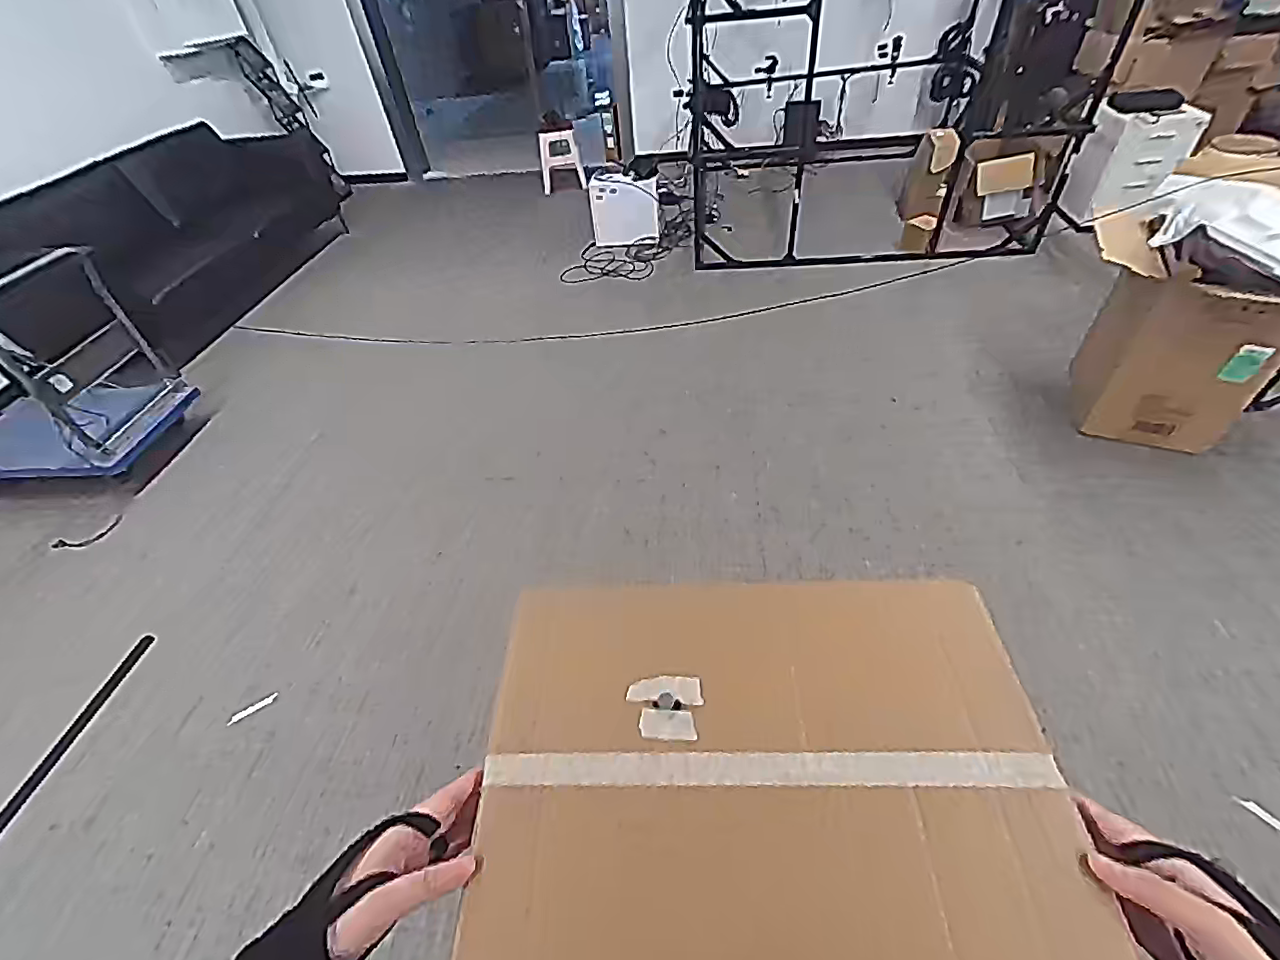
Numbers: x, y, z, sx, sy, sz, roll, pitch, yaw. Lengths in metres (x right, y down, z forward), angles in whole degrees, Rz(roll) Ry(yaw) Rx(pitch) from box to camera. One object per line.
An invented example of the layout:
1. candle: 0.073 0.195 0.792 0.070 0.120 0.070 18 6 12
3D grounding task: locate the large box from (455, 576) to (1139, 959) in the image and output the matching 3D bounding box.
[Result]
1. large box: 0.101 0.305 0.491 0.408 0.320 0.320 -3 48 5
